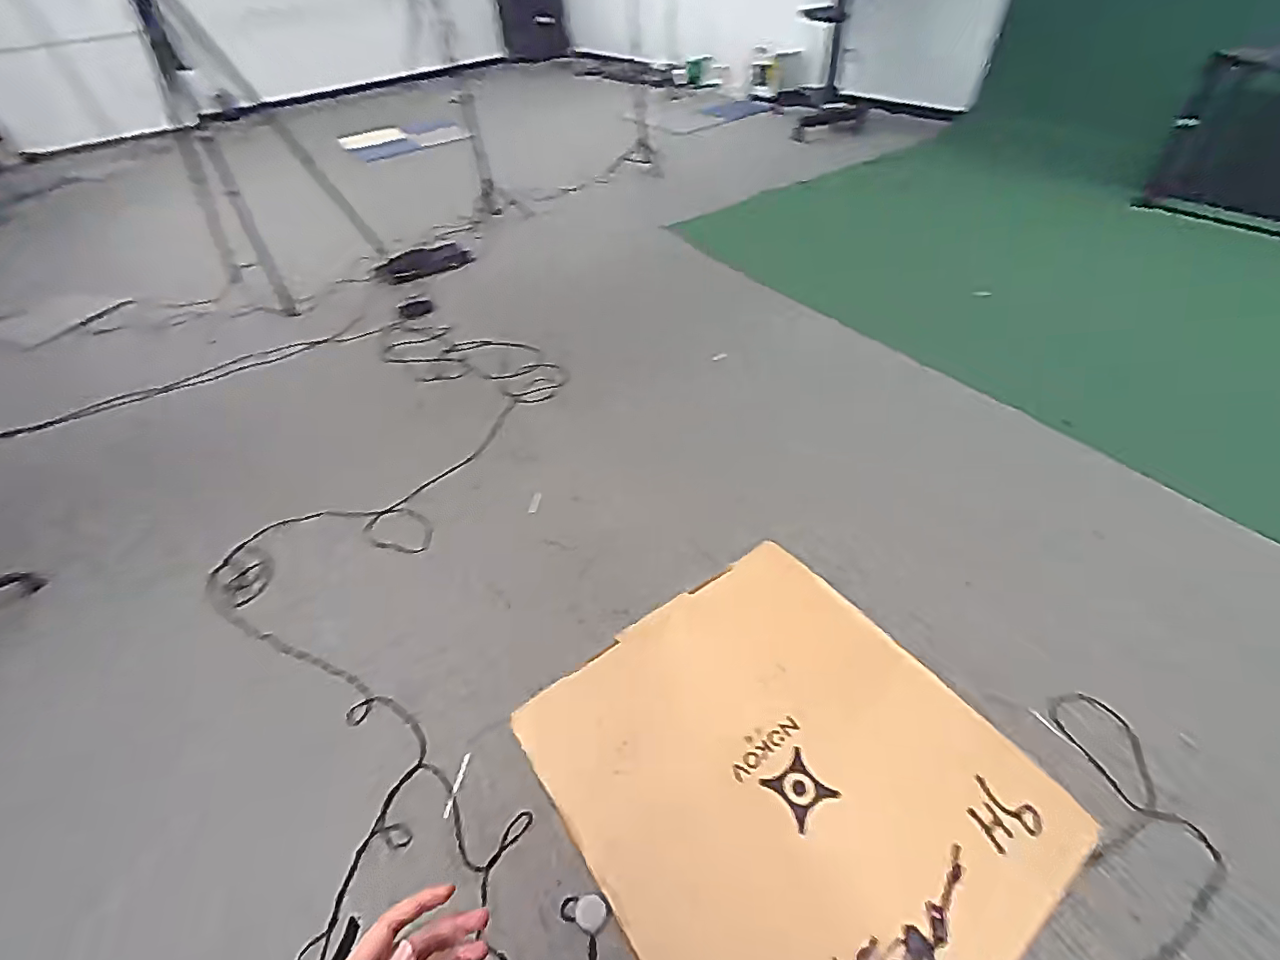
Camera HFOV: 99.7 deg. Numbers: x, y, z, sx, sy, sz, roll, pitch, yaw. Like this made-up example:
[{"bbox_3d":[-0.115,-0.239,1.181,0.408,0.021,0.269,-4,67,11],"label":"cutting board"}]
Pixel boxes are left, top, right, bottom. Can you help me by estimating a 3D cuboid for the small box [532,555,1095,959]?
[{"bbox_3d":[0.065,0.181,0.285,0.168,0.176,0.179,-29,51,-24],"label":"small box"}]
